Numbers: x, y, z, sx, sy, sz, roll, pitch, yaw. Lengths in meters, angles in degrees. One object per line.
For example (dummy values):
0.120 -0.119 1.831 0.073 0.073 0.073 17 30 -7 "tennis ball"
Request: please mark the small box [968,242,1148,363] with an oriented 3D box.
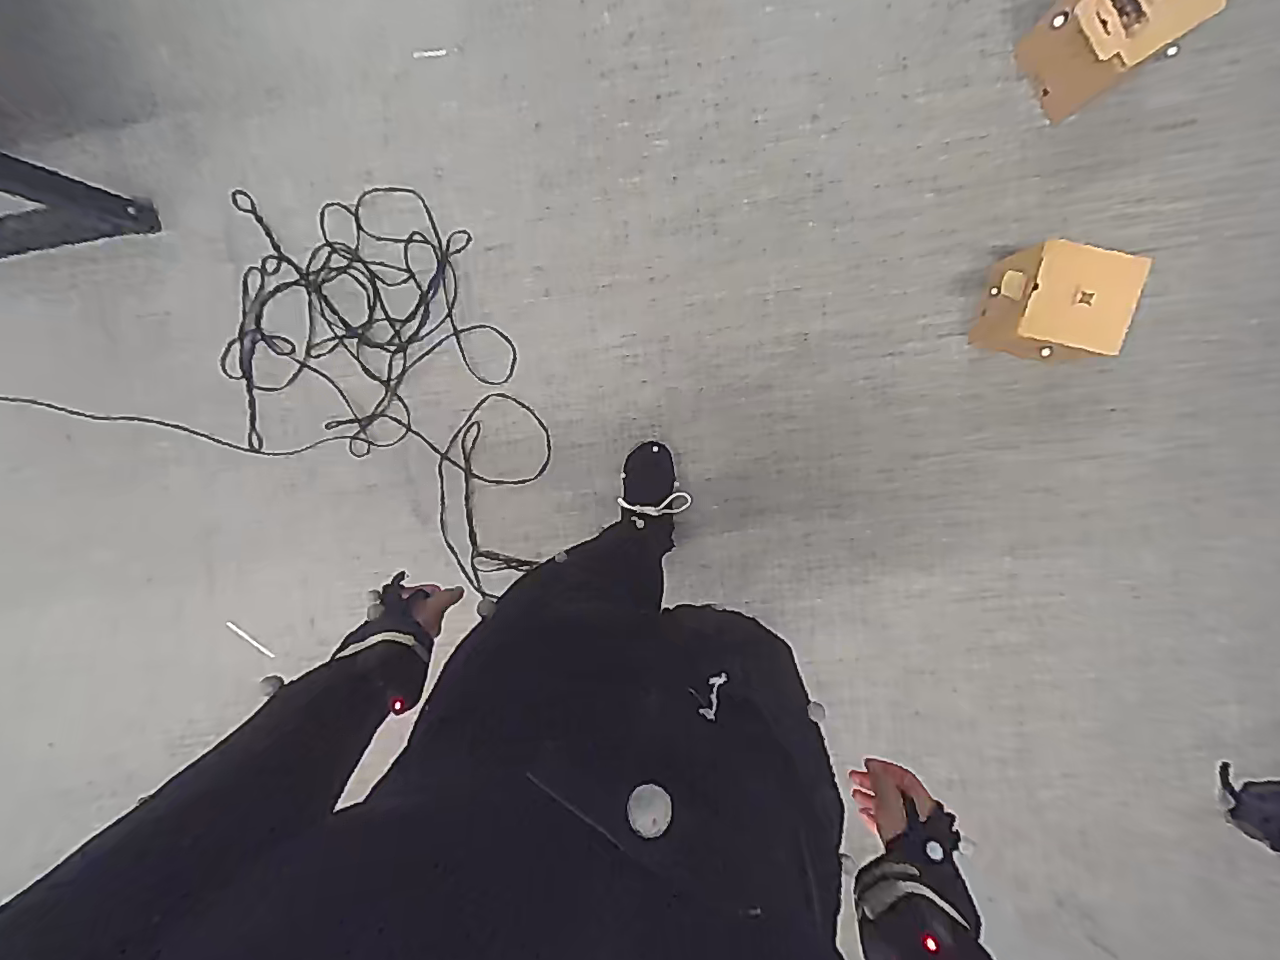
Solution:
0.759 -0.317 1.002 0.179 0.176 0.168 14 99 3 "small box"
